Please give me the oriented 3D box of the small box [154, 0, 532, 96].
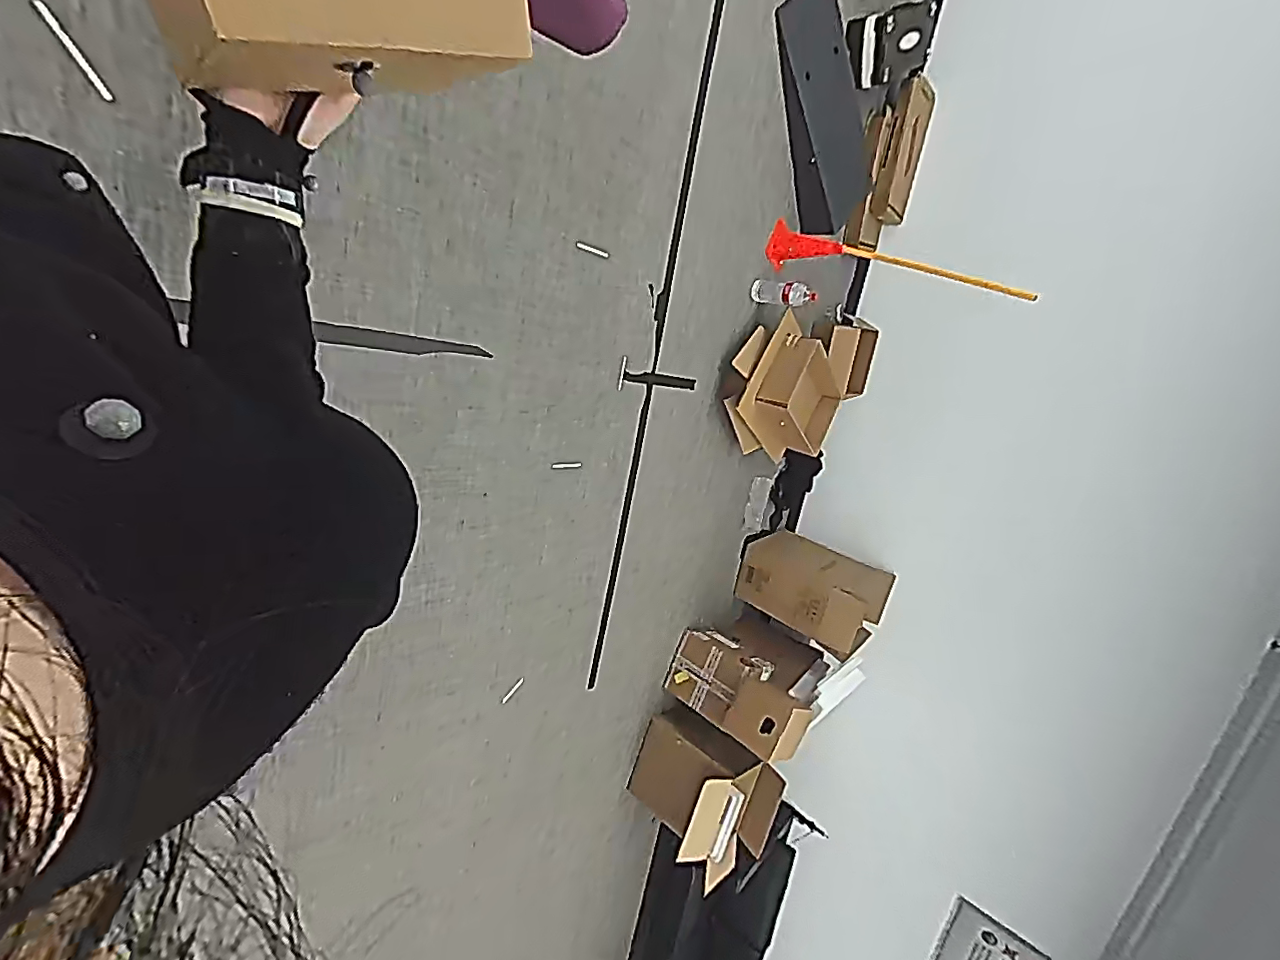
[{"bbox_3d":[-0.191,-0.334,0.315,0.179,0.176,0.168,-27,128,-34],"label":"small box"}]
